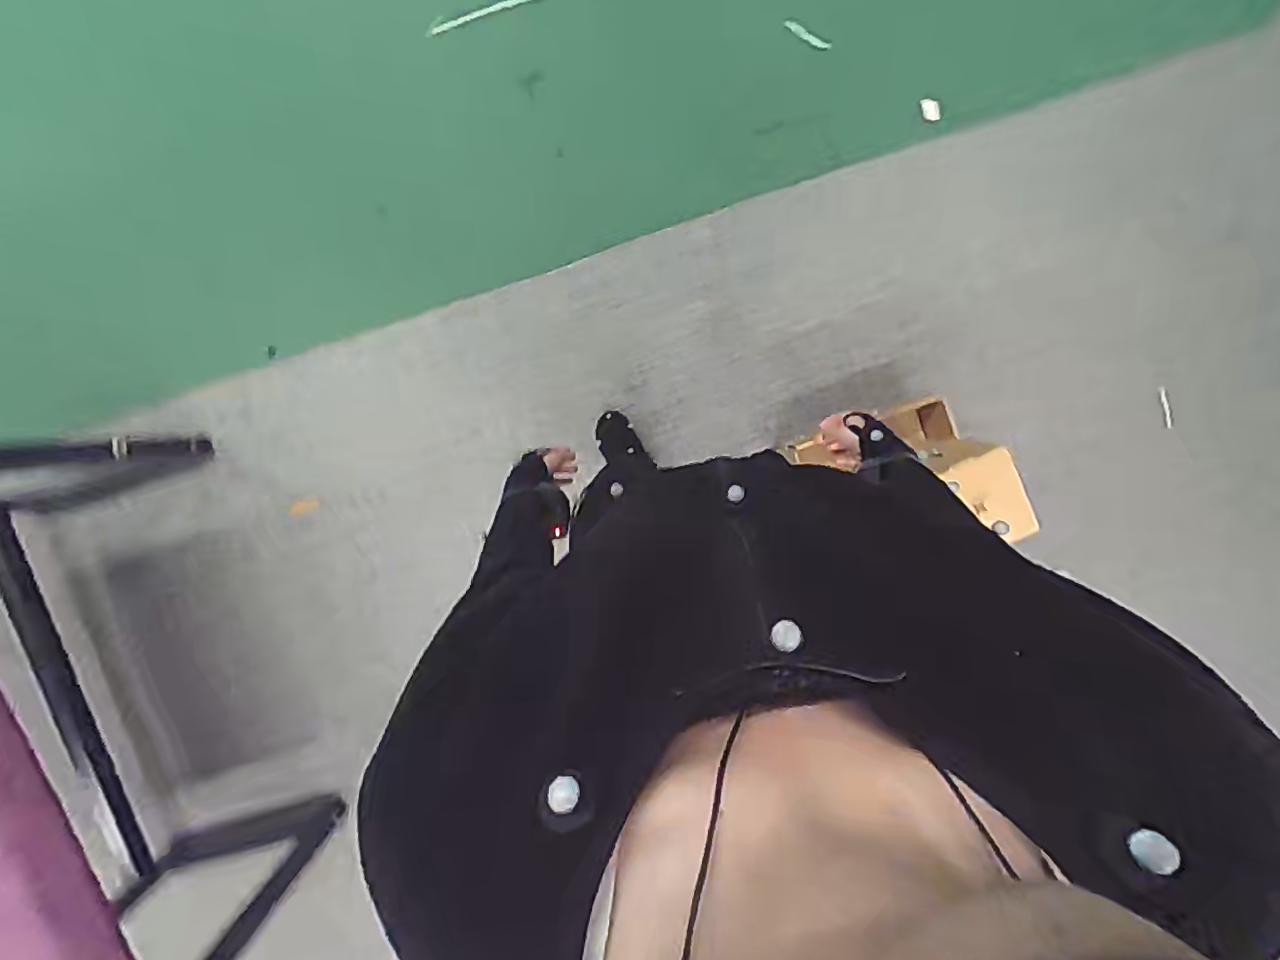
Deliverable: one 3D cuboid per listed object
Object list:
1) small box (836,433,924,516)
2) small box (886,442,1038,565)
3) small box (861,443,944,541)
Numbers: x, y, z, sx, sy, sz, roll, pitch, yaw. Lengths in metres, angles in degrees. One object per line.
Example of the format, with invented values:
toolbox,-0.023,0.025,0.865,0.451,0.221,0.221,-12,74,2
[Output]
small box,0.626,-0.011,1.379,0.168,0.176,0.179,-23,97,4
small box,0.618,0.037,1.057,0.168,0.176,0.179,-26,96,5
small box,0.619,0.020,1.218,0.179,0.176,0.168,-18,97,4
